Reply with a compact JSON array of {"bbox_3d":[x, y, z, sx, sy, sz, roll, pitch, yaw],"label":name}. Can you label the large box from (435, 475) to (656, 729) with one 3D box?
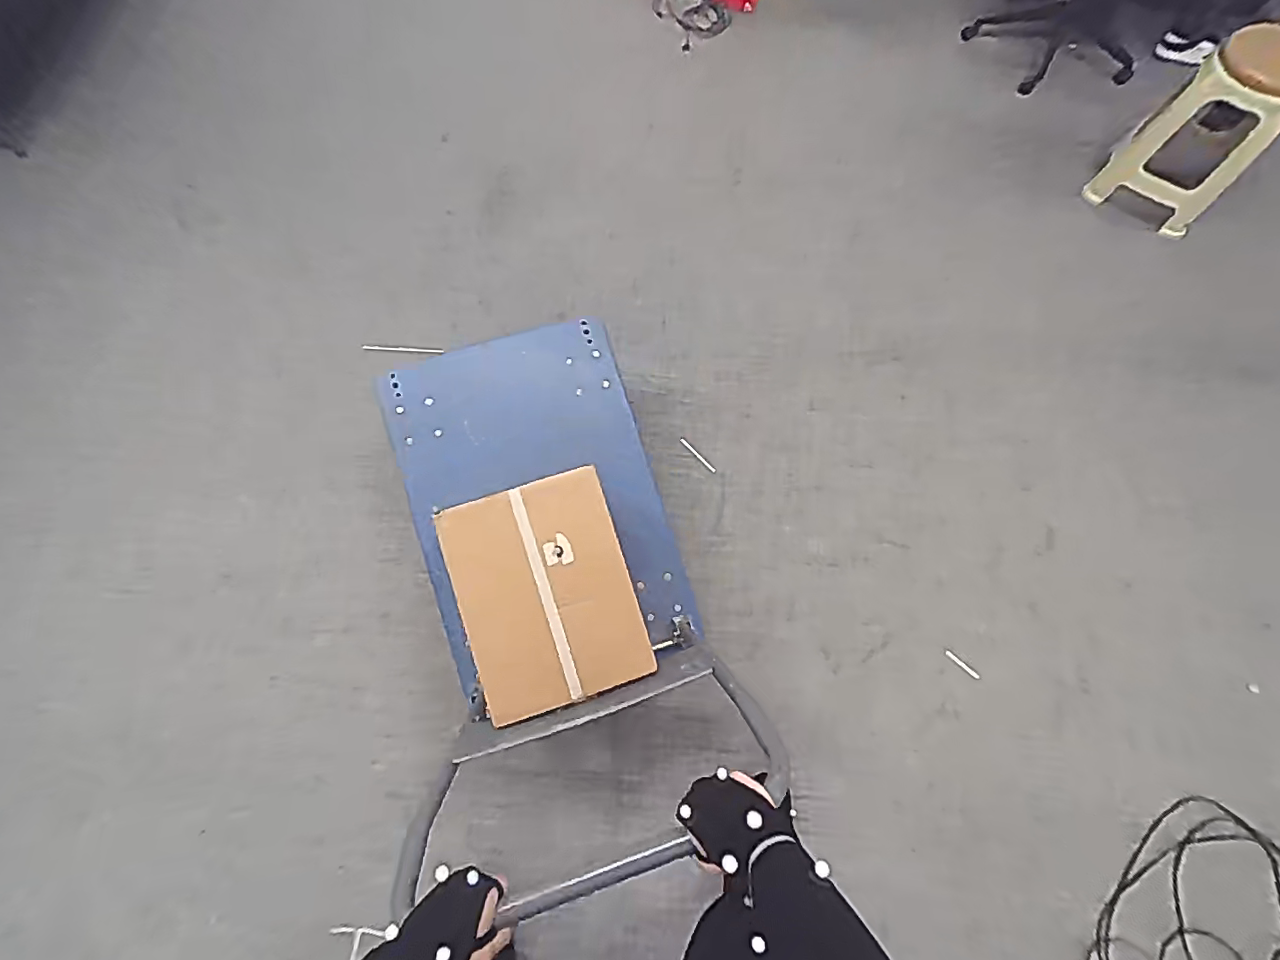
[{"bbox_3d":[-0.186,0.240,1.161,0.320,0.320,0.408,-18,85,-7],"label":"large box"}]
